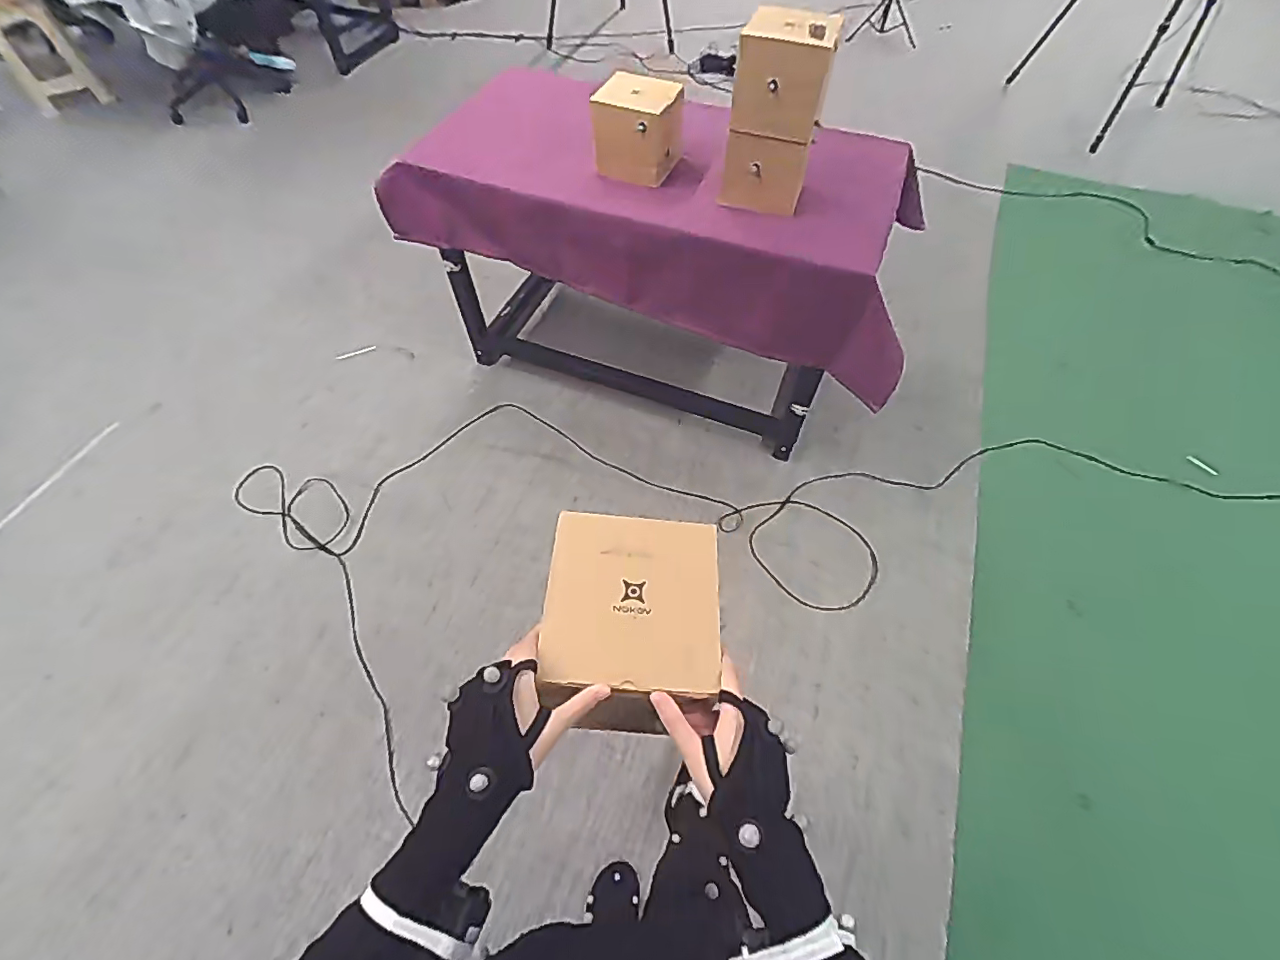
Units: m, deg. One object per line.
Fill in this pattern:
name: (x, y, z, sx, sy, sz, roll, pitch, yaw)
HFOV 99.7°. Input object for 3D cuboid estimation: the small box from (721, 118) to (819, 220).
small box: (0.297, -0.733, 1.257, 0.179, 0.176, 0.168, 16, 58, 11)

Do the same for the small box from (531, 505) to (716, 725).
small box: (-0.015, 0.151, 0.582, 0.168, 0.176, 0.179, 6, 52, -3)

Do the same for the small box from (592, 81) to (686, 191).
small box: (-0.003, -0.841, 1.328, 0.179, 0.176, 0.168, 20, 59, 11)

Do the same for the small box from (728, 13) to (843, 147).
small box: (0.296, -0.821, 1.117, 0.179, 0.176, 0.168, 17, 58, 11)
